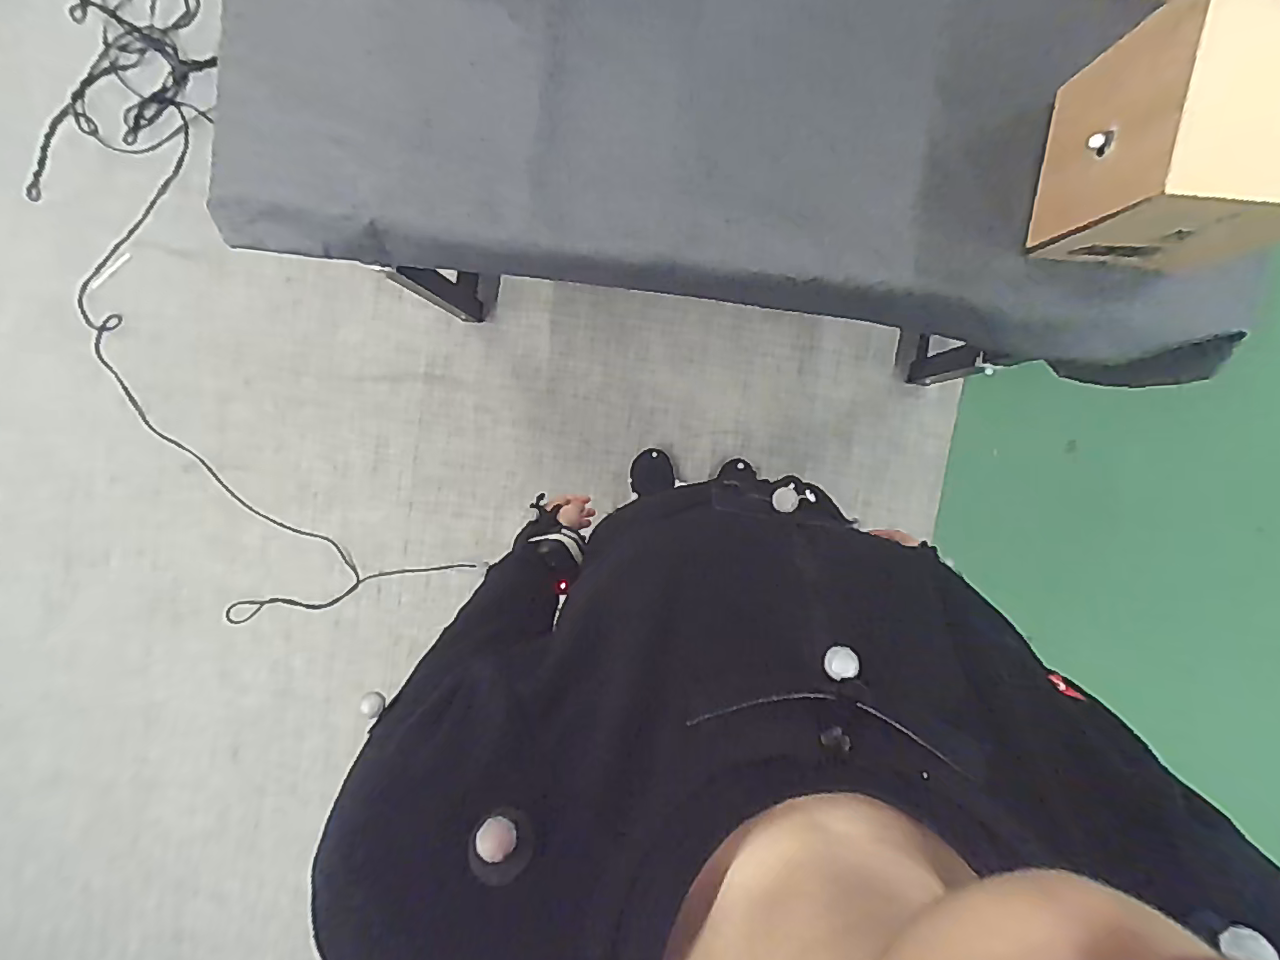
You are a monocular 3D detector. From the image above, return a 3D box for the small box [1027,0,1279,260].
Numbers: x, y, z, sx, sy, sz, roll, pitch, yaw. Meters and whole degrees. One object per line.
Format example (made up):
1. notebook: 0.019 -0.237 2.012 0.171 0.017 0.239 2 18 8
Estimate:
1. small box: 0.509 -0.318 0.496 0.168 0.179 0.176 6 98 3
